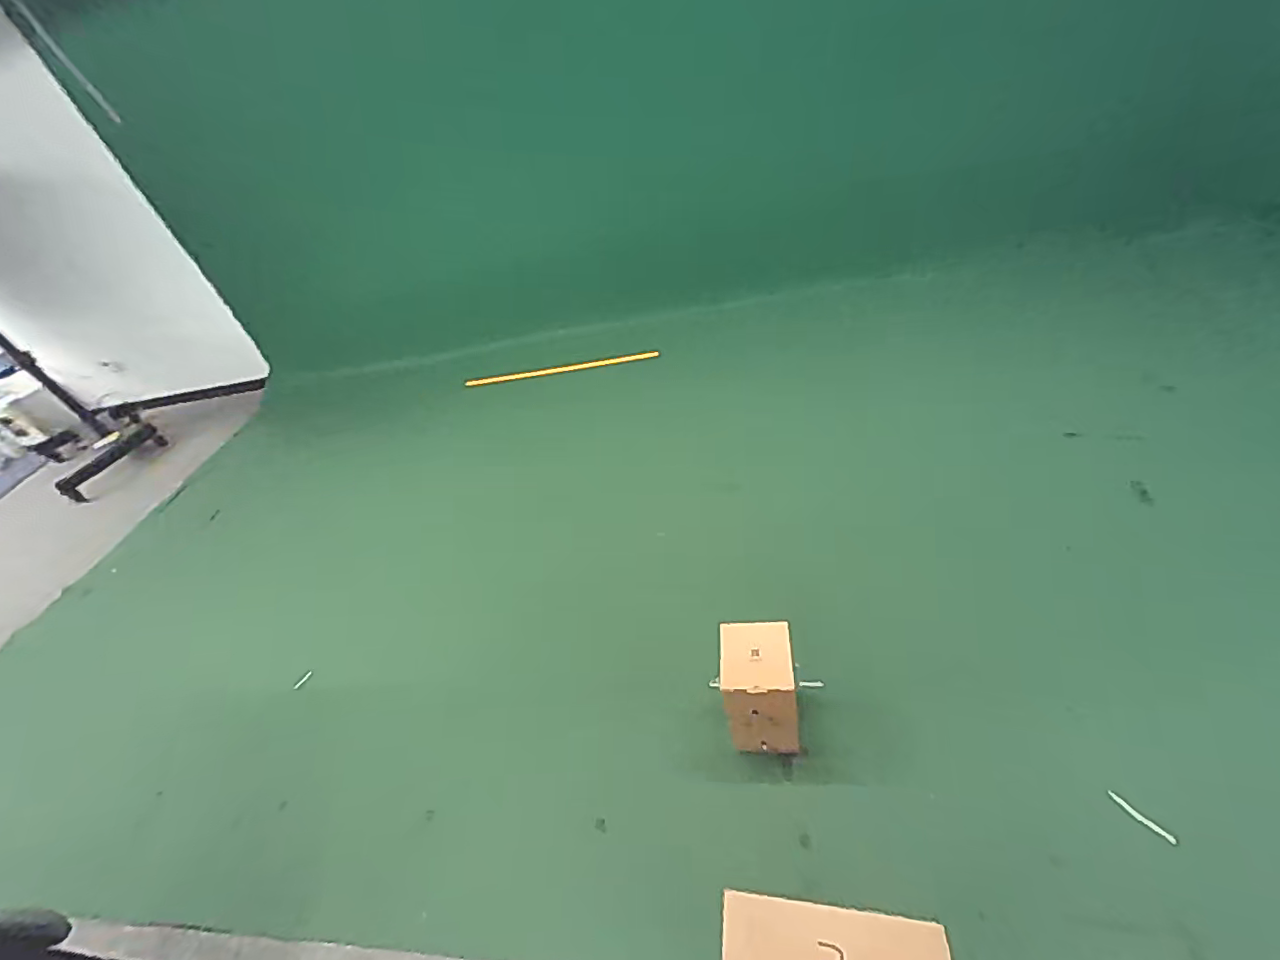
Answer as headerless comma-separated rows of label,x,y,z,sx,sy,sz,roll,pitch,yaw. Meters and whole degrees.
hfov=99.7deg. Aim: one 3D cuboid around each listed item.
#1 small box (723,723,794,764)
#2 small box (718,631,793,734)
small box,0.309,0.610,1.407,0.168,0.176,0.179,-5,40,14
small box,0.277,0.487,1.306,0.168,0.176,0.179,-5,40,12
